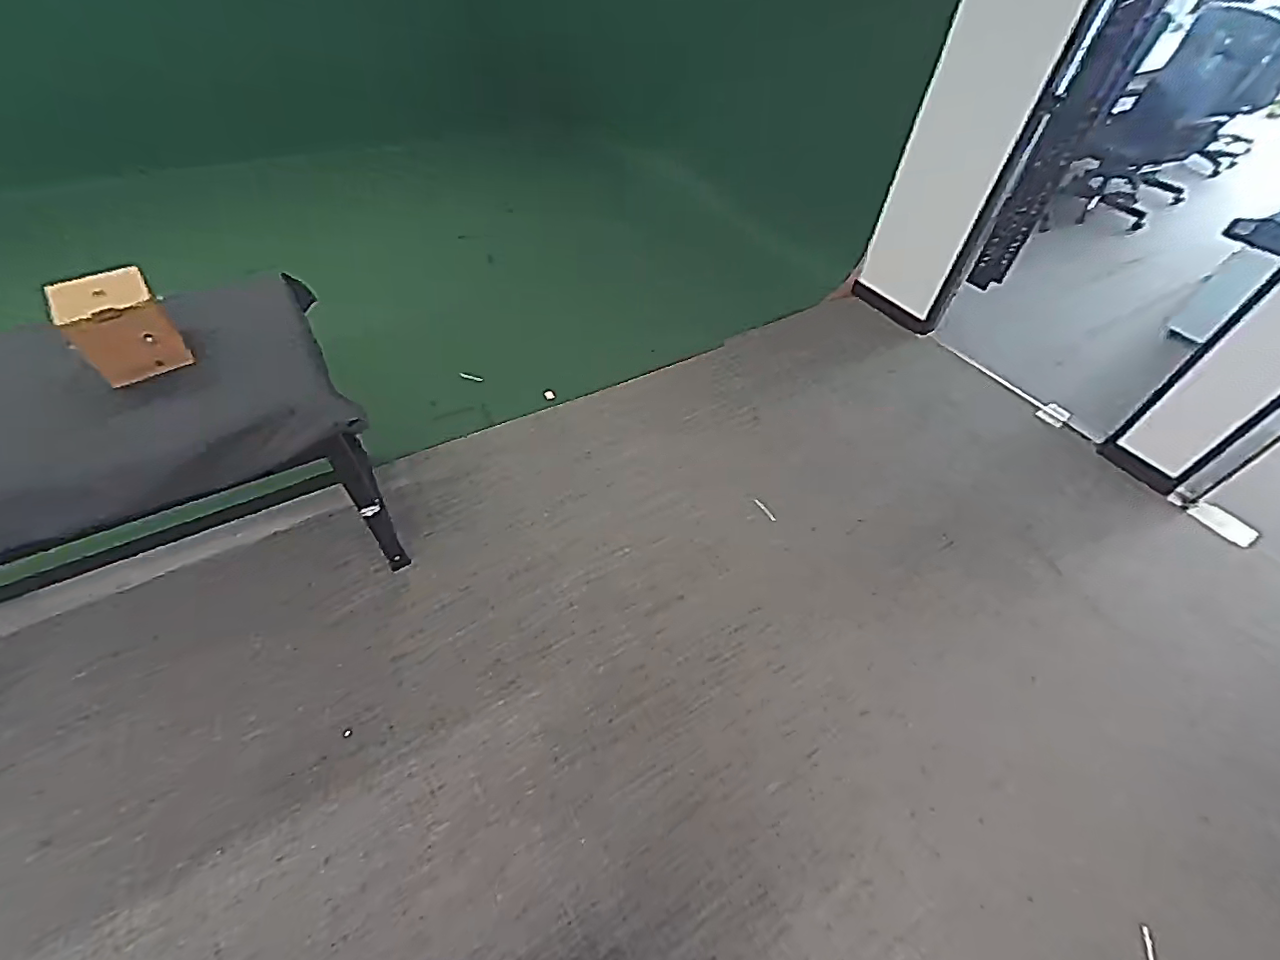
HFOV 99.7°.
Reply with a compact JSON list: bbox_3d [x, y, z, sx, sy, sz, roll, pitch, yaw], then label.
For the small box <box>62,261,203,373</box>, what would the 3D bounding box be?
[{"bbox_3d":[-1.137,-0.362,1.223,0.168,0.176,0.179,-30,57,-27],"label":"small box"}]
